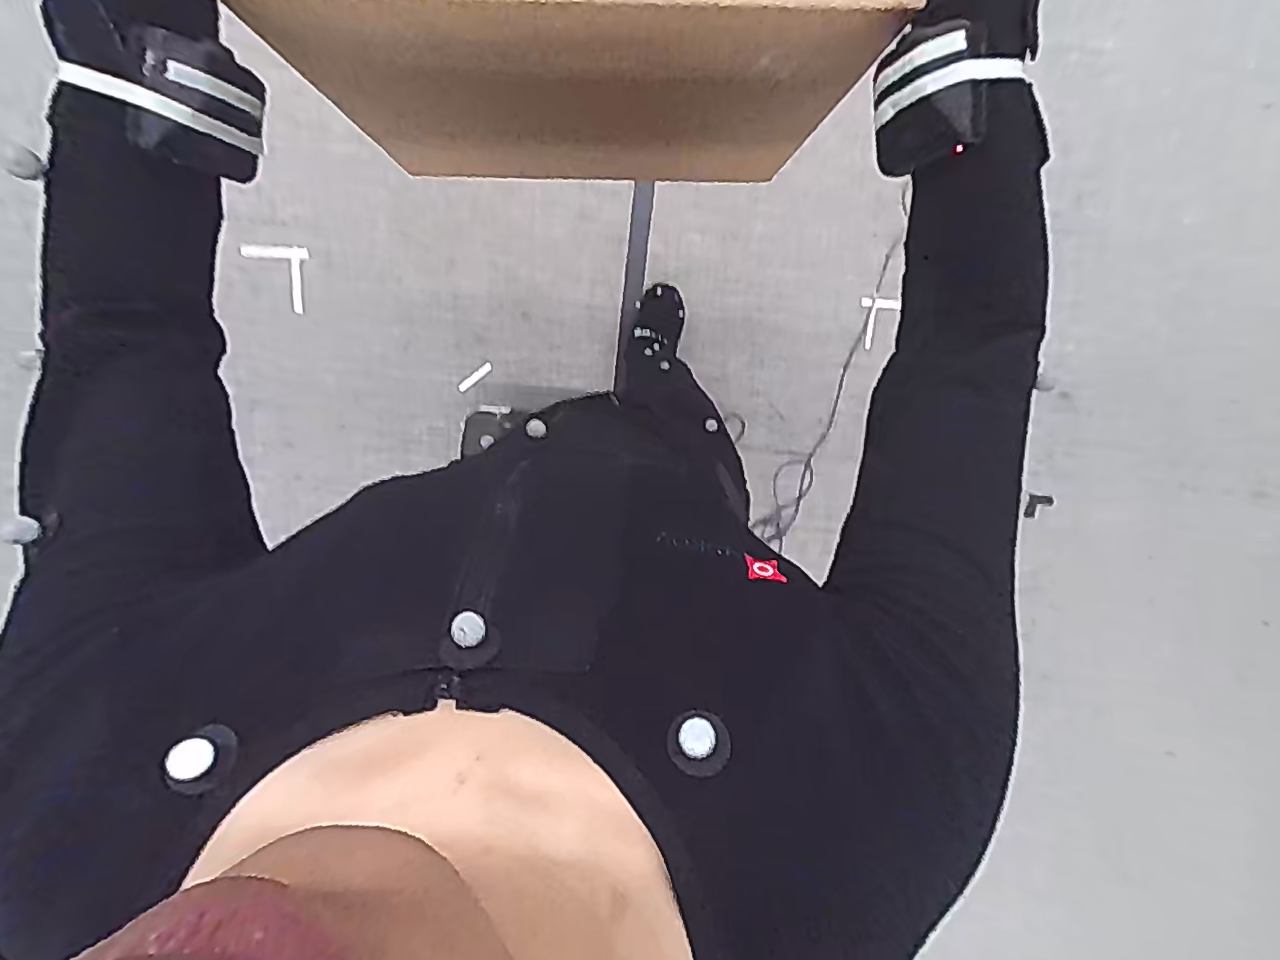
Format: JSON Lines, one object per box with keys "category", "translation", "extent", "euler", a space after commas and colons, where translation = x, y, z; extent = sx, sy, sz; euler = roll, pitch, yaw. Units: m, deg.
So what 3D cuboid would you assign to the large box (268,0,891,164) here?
{"category": "large box", "translation": [-0.045, -0.469, 0.423], "extent": [0.408, 0.320, 0.320], "euler": [-1, 103, -3]}
